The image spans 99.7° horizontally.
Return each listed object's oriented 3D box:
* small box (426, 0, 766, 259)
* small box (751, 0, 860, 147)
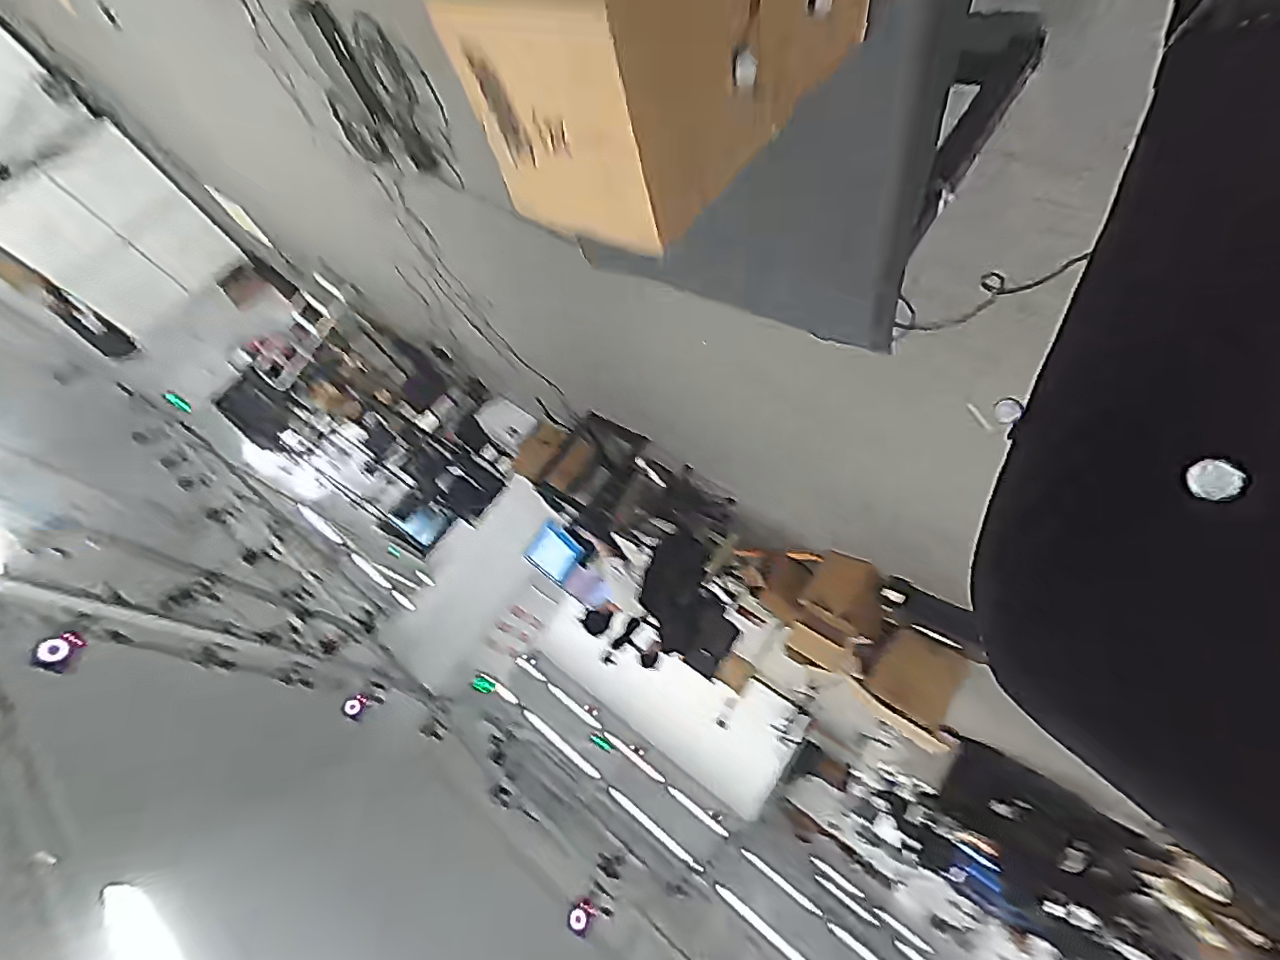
[{"bbox_3d":[-0.020,-0.315,0.428,0.179,0.176,0.168,30,162,28],"label":"small box"},{"bbox_3d":[0.083,-0.437,0.471,0.168,0.176,0.179,30,163,28],"label":"small box"}]
